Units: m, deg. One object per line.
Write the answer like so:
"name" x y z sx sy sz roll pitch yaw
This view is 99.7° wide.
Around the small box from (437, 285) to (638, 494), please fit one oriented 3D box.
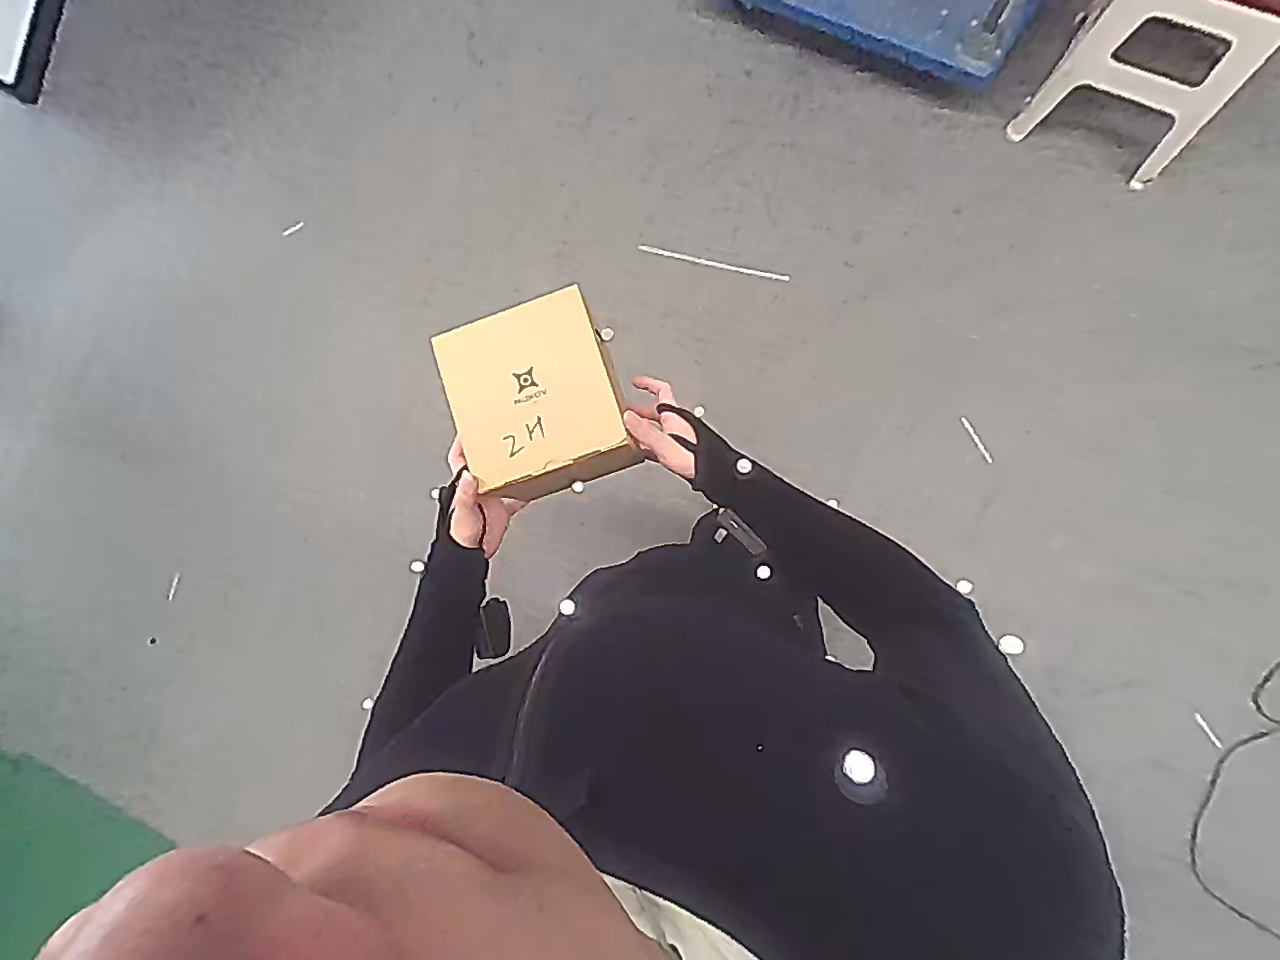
"small box" -0.108 -0.092 0.636 0.168 0.176 0.179 -17 84 4
